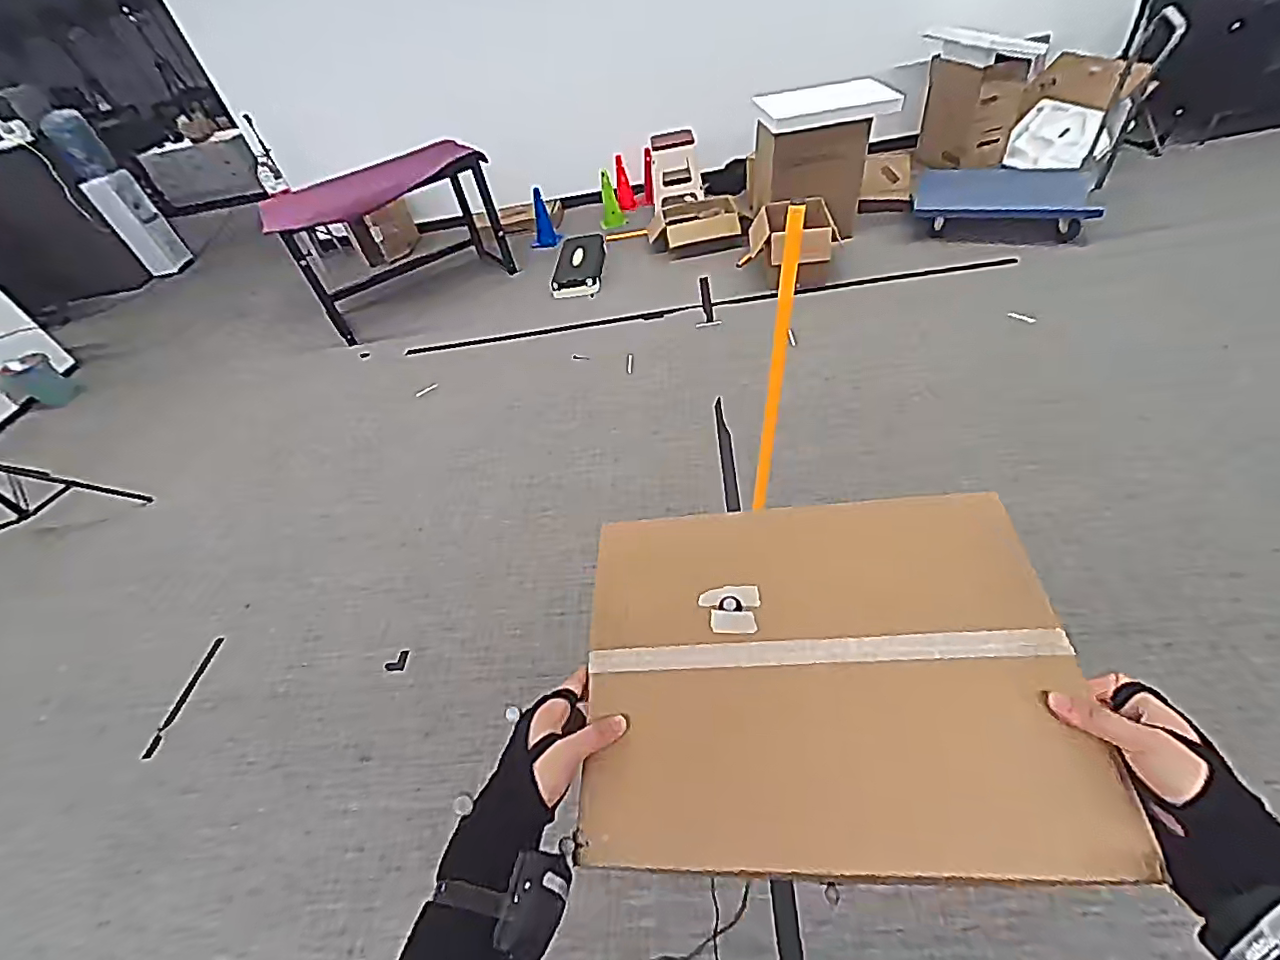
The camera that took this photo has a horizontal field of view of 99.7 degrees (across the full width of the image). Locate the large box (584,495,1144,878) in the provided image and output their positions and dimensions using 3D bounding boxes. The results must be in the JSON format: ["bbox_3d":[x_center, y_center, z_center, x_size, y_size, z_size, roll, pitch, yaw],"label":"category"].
[{"bbox_3d":[0.183,0.247,0.600,0.408,0.320,0.320,-7,51,11],"label":"large box"}]
